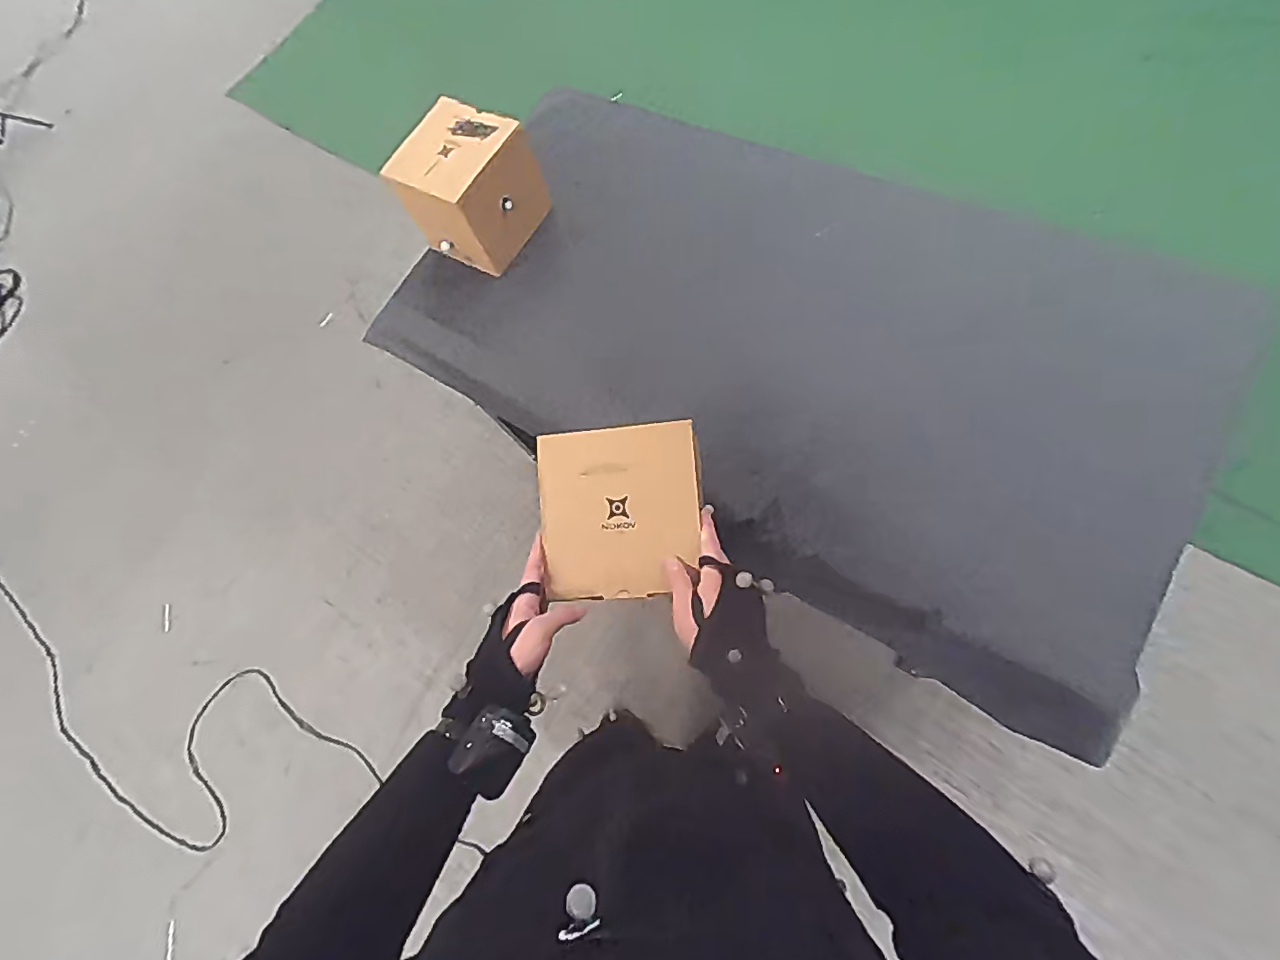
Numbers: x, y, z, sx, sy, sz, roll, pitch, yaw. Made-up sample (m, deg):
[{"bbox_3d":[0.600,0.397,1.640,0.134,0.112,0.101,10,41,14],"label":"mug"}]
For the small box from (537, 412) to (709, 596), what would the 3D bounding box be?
[{"bbox_3d":[-0.010,0.032,0.618,0.168,0.176,0.179,-5,82,7],"label":"small box"}]

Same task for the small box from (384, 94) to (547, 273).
[{"bbox_3d":[-0.278,-0.492,0.910,0.168,0.176,0.179,29,78,18],"label":"small box"}]
